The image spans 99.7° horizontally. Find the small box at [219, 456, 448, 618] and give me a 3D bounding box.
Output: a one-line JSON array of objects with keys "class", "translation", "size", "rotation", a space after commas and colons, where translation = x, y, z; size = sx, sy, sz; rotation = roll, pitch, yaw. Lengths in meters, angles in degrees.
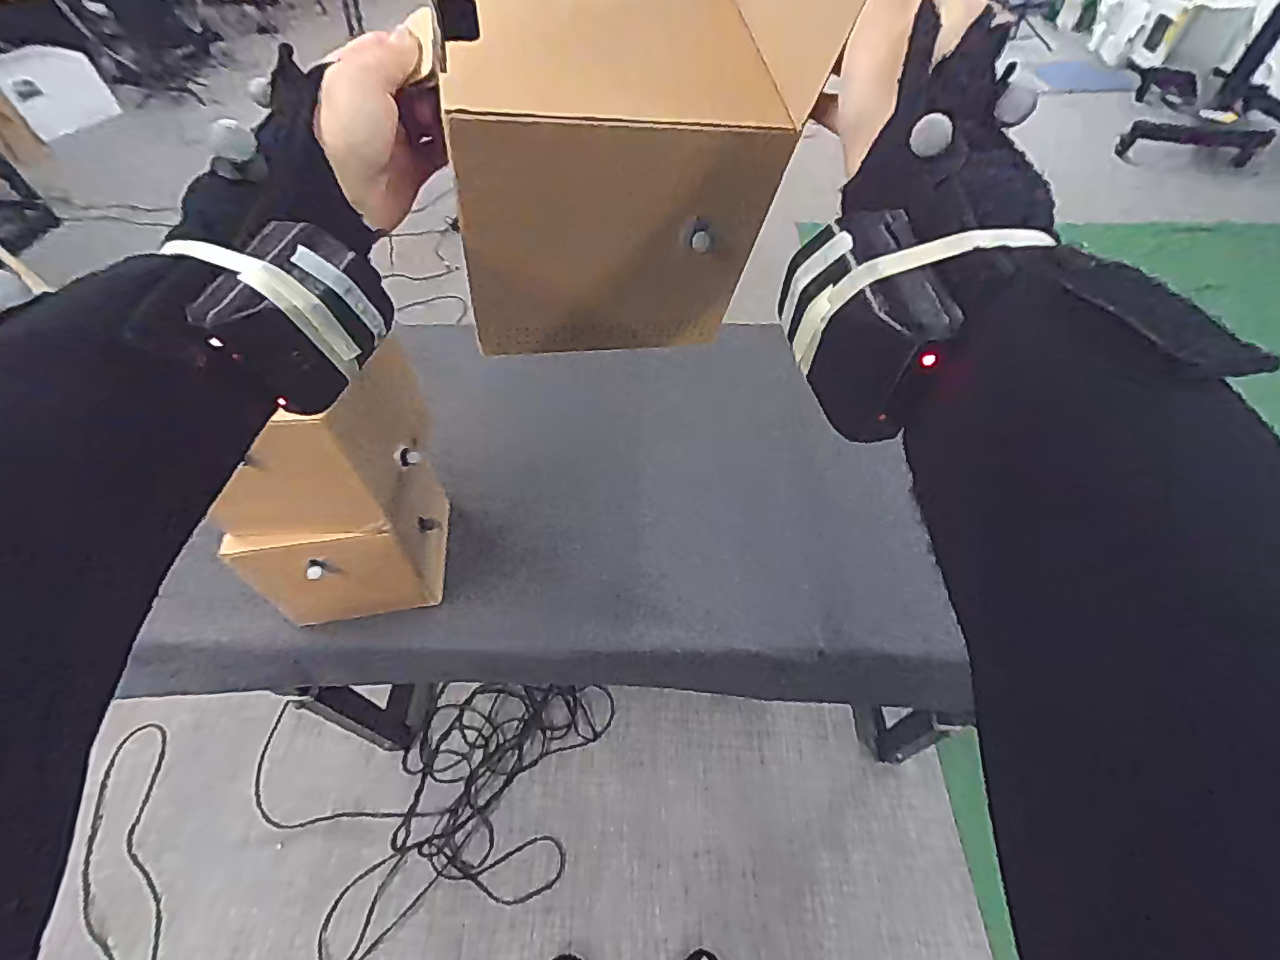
[{"class": "small box", "translation": [-0.346, 0.050, 0.657], "size": [0.179, 0.176, 0.168], "rotation": [-8, 52, -4]}]

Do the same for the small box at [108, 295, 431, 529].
[{"class": "small box", "translation": [-0.335, -0.062, 0.537], "size": [0.179, 0.176, 0.168], "rotation": [-1, 53, 0]}]
